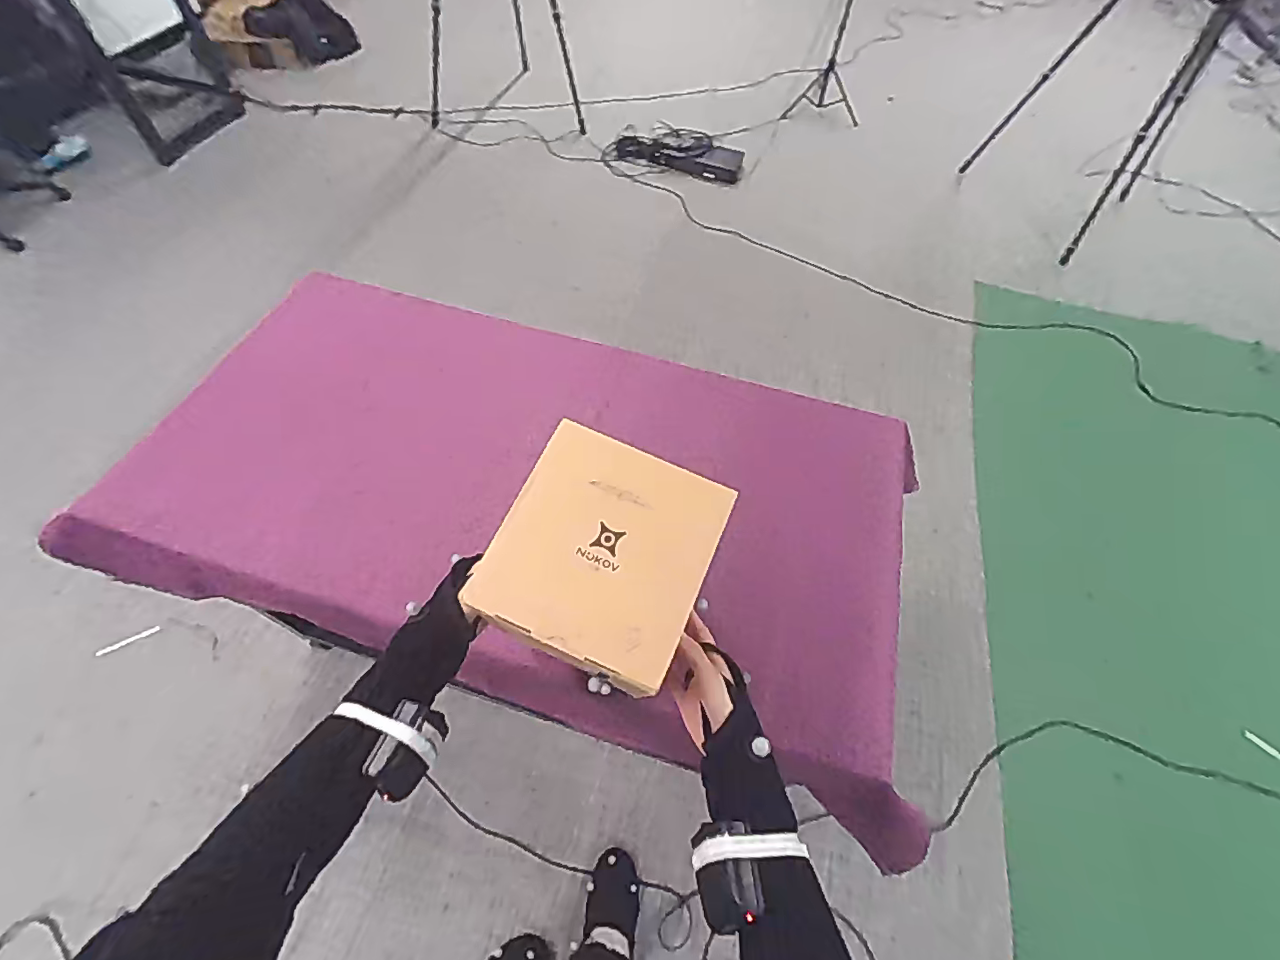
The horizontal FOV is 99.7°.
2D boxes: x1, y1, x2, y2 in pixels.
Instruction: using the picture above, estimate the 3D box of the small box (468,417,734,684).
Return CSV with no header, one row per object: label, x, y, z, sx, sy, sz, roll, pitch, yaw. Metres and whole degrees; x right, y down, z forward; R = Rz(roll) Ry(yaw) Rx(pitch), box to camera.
small box,-0.030,0.078,0.513,0.168,0.176,0.179,24,67,6
